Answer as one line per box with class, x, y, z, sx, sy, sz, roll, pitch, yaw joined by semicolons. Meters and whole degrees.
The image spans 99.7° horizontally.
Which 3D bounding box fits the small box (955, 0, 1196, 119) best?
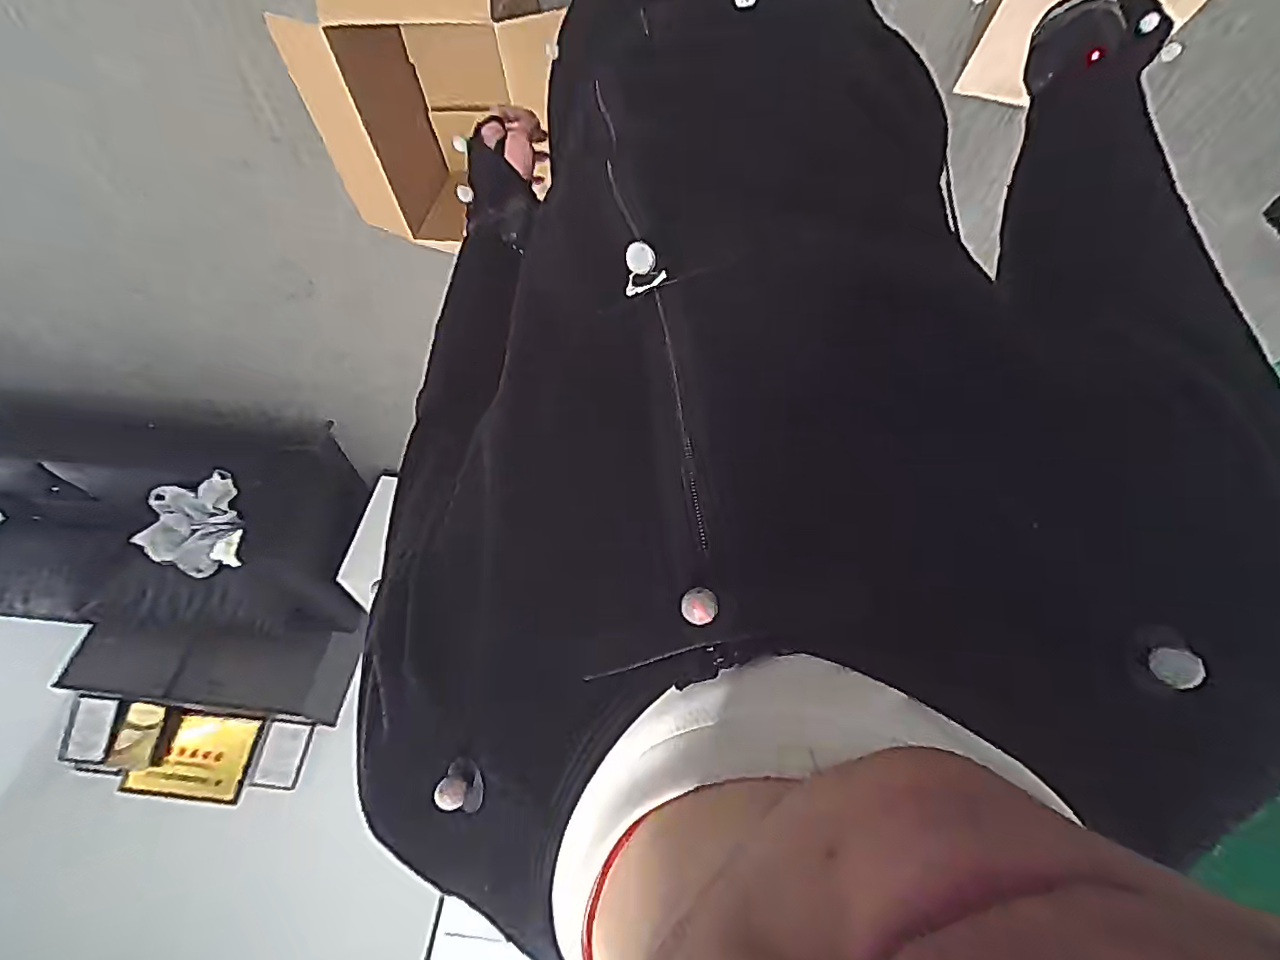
small box;0.470;-0.533;0.577;0.168;0.179;0.176;20;-179;9
